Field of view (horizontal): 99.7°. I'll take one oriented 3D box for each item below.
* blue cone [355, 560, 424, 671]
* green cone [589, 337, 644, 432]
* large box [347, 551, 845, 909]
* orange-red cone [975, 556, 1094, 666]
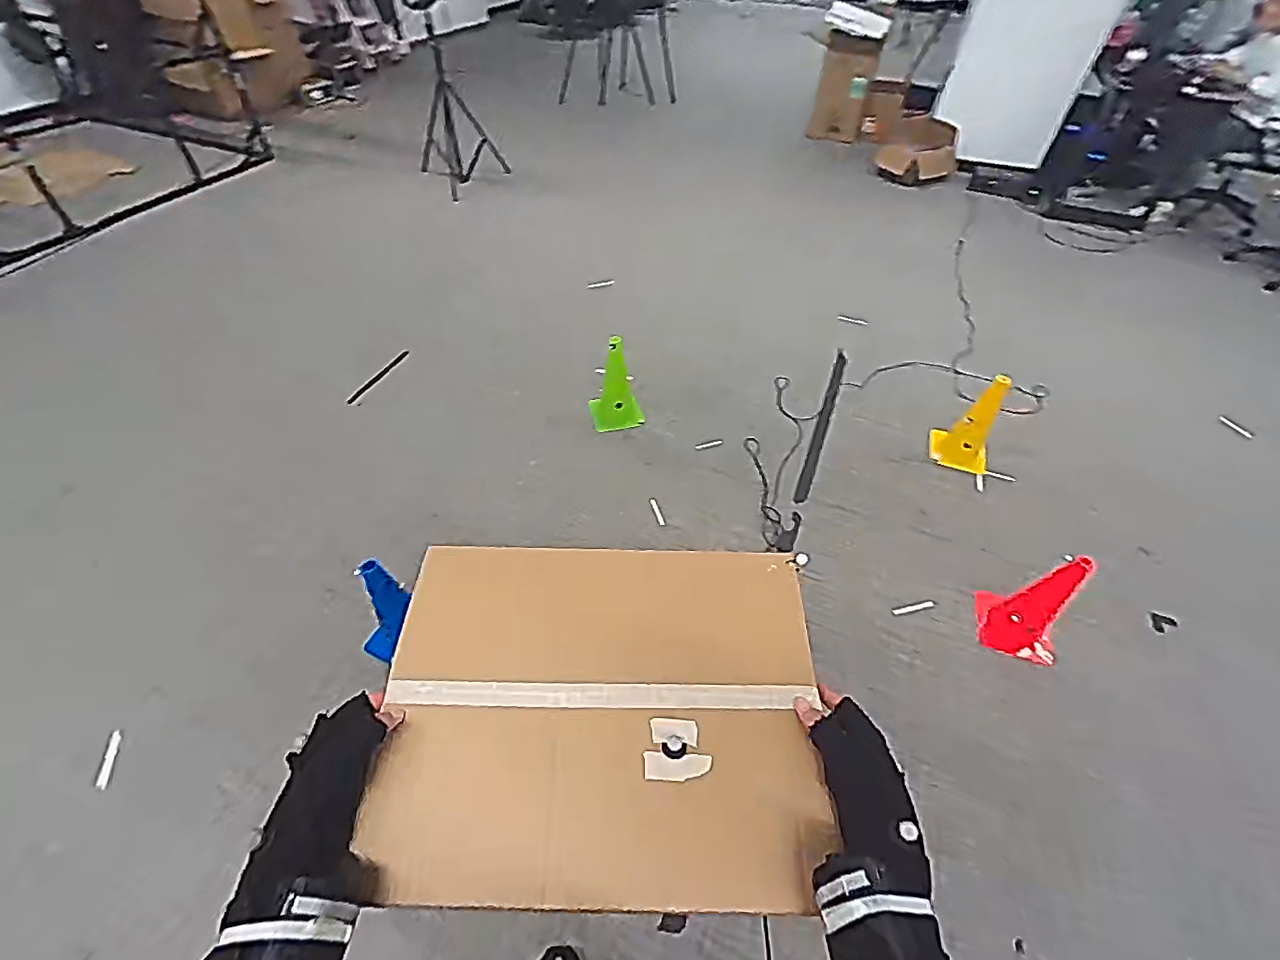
[{"bbox_3d":[-0.670,0.338,1.450,0.192,0.380,0.193,20,50,17],"label":"blue cone"},{"bbox_3d":[-0.099,-0.392,2.099,0.202,0.368,0.200,-12,49,-10],"label":"green cone"},{"bbox_3d":[-0.036,0.297,0.631,0.408,0.320,0.320,2,53,0],"label":"large box"},{"bbox_3d":[1.119,0.325,1.495,0.198,0.360,0.199,17,48,12],"label":"orange-red cone"}]
